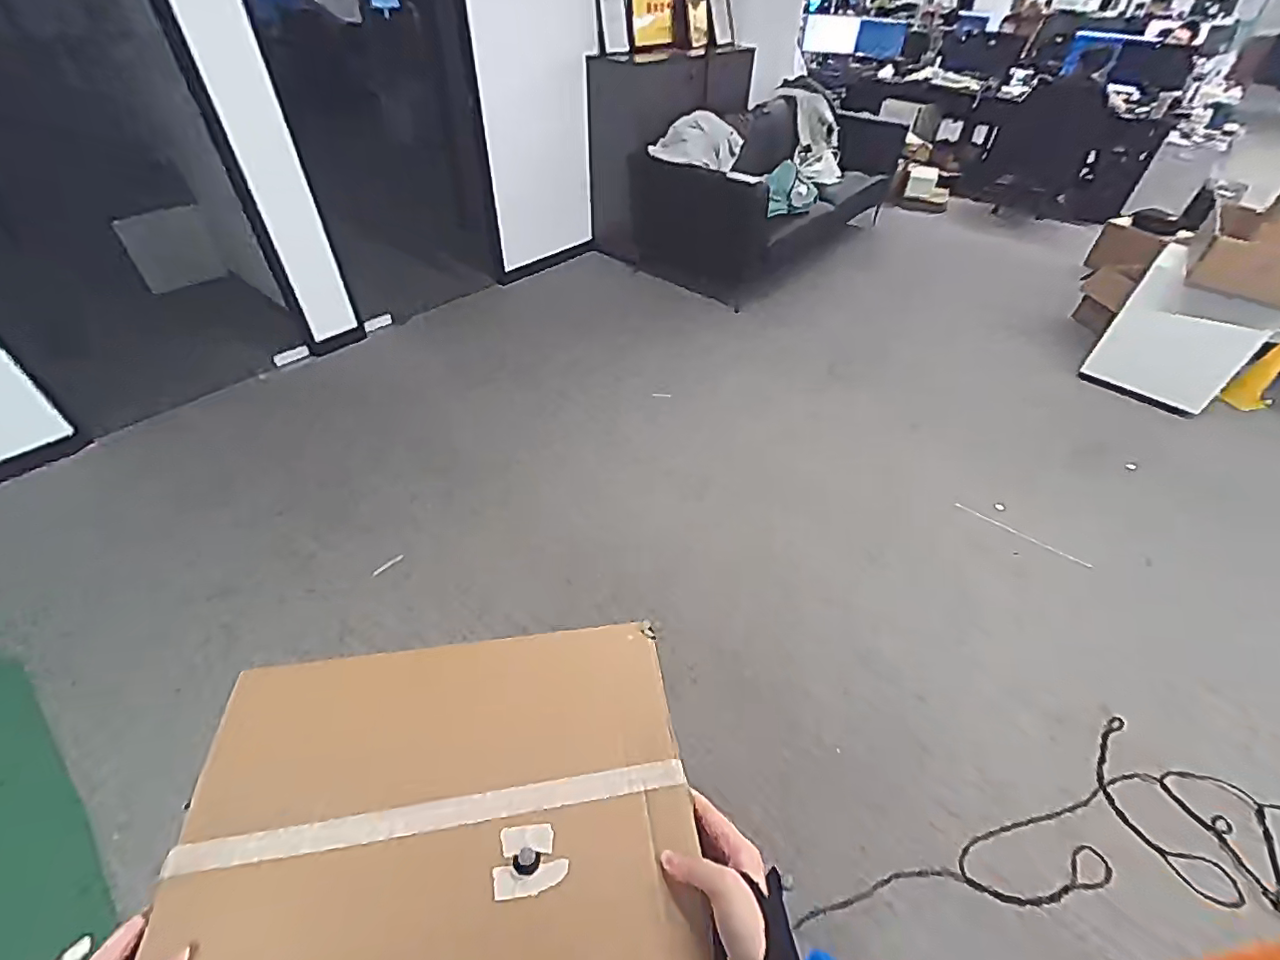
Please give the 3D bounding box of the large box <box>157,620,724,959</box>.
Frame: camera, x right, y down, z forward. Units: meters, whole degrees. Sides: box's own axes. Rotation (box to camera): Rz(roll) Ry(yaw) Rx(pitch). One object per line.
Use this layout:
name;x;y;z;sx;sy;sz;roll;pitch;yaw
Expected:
large box;-0.171;0.384;0.566;0.408;0.320;0.320;-4;45;-11
